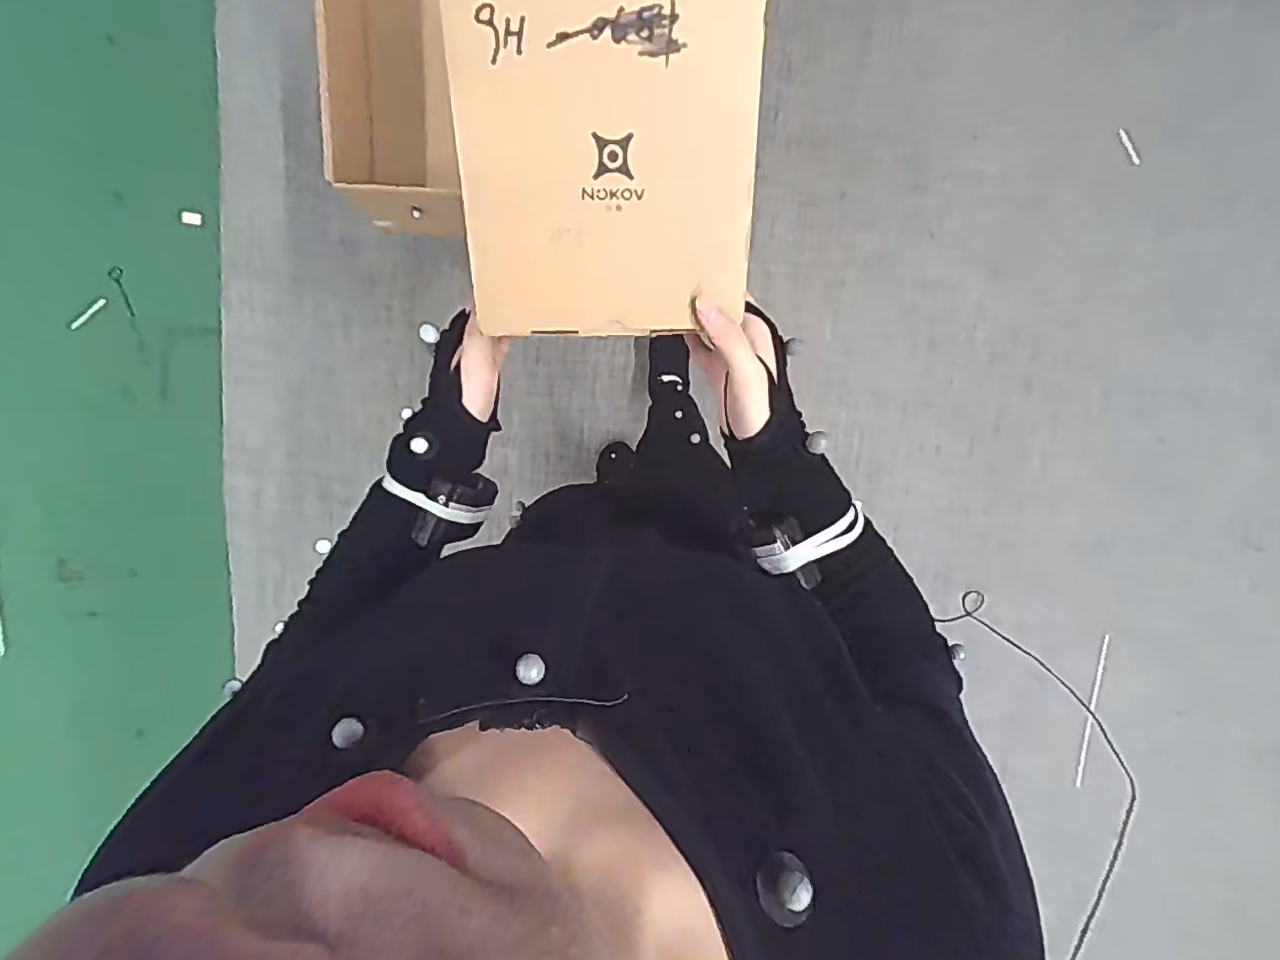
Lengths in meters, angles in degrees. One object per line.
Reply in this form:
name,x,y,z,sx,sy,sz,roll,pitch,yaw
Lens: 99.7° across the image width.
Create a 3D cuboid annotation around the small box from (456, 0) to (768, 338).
small box,-0.024,-0.204,0.384,0.168,0.176,0.179,-3,114,-8
